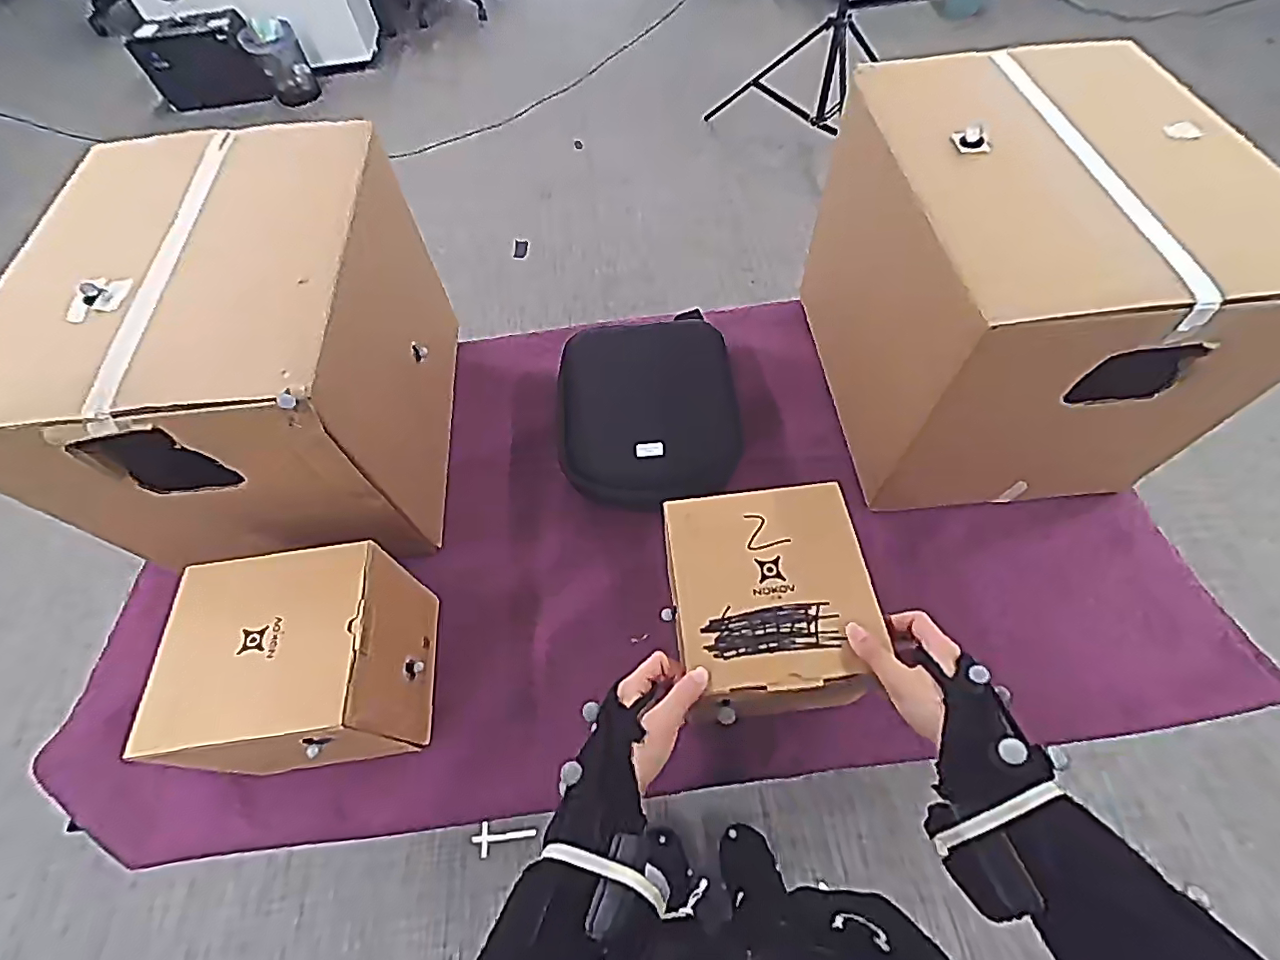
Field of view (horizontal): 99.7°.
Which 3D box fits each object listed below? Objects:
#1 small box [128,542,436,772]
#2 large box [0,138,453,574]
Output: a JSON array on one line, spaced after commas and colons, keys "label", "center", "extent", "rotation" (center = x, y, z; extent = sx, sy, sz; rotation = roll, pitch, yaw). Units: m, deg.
[{"label": "small box", "center": [-0.325, 0.182, 0.537], "extent": [0.179, 0.176, 0.168], "rotation": [-9, 58, -2]}, {"label": "large box", "center": [-0.426, -0.132, 0.648], "extent": [0.320, 0.320, 0.408], "rotation": [-7, 61, -2]}]
